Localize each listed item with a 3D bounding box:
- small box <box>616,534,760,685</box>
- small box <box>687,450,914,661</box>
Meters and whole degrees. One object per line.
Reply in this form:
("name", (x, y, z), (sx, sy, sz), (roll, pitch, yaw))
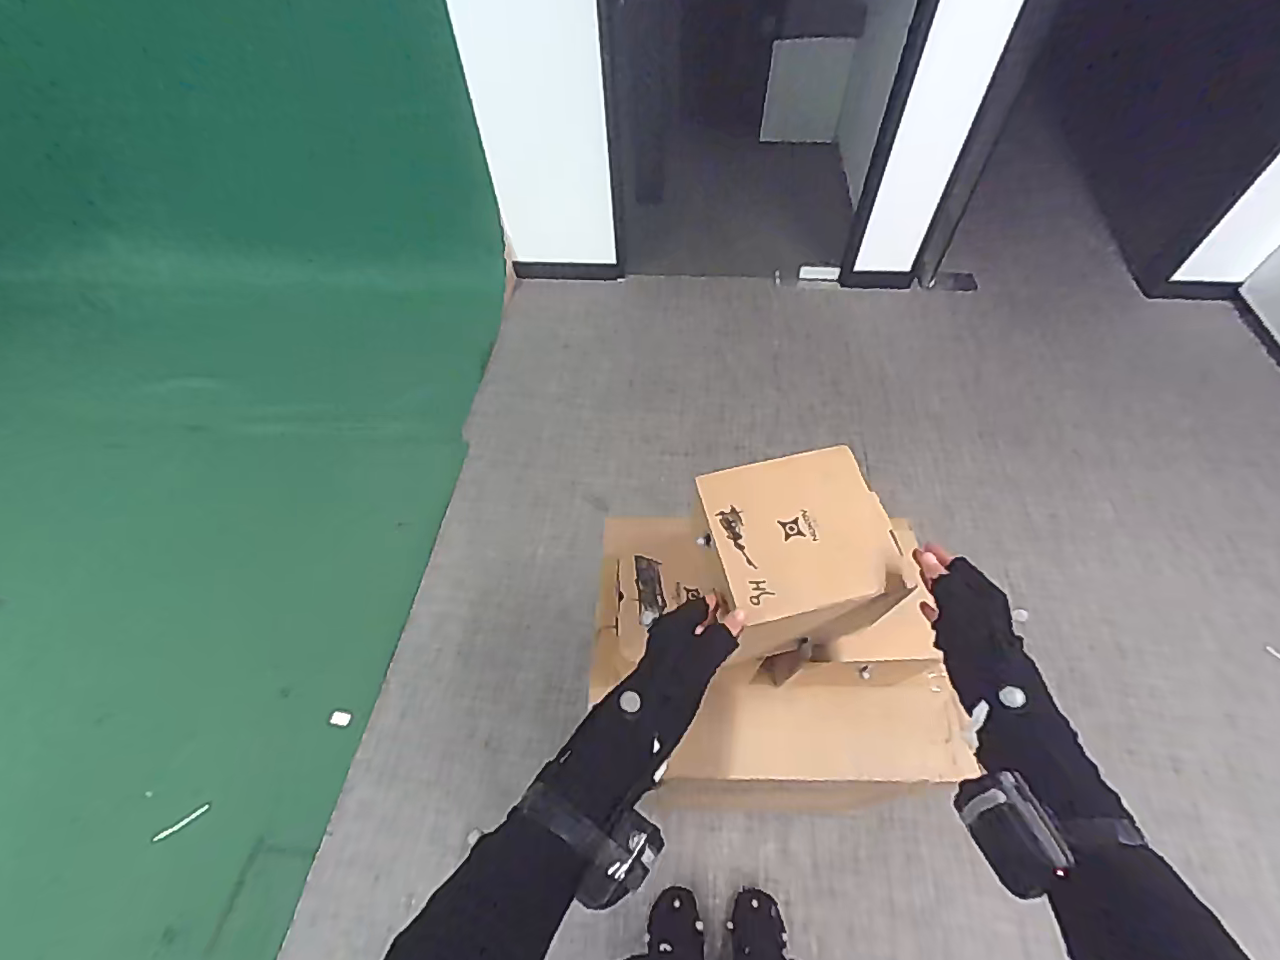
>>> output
("small box", (0.061, 0.184, 0.748), (0.179, 0.176, 0.168), (-1, 59, 1))
("small box", (0.161, 0.091, 0.611), (0.179, 0.176, 0.168), (-11, 59, -6))
